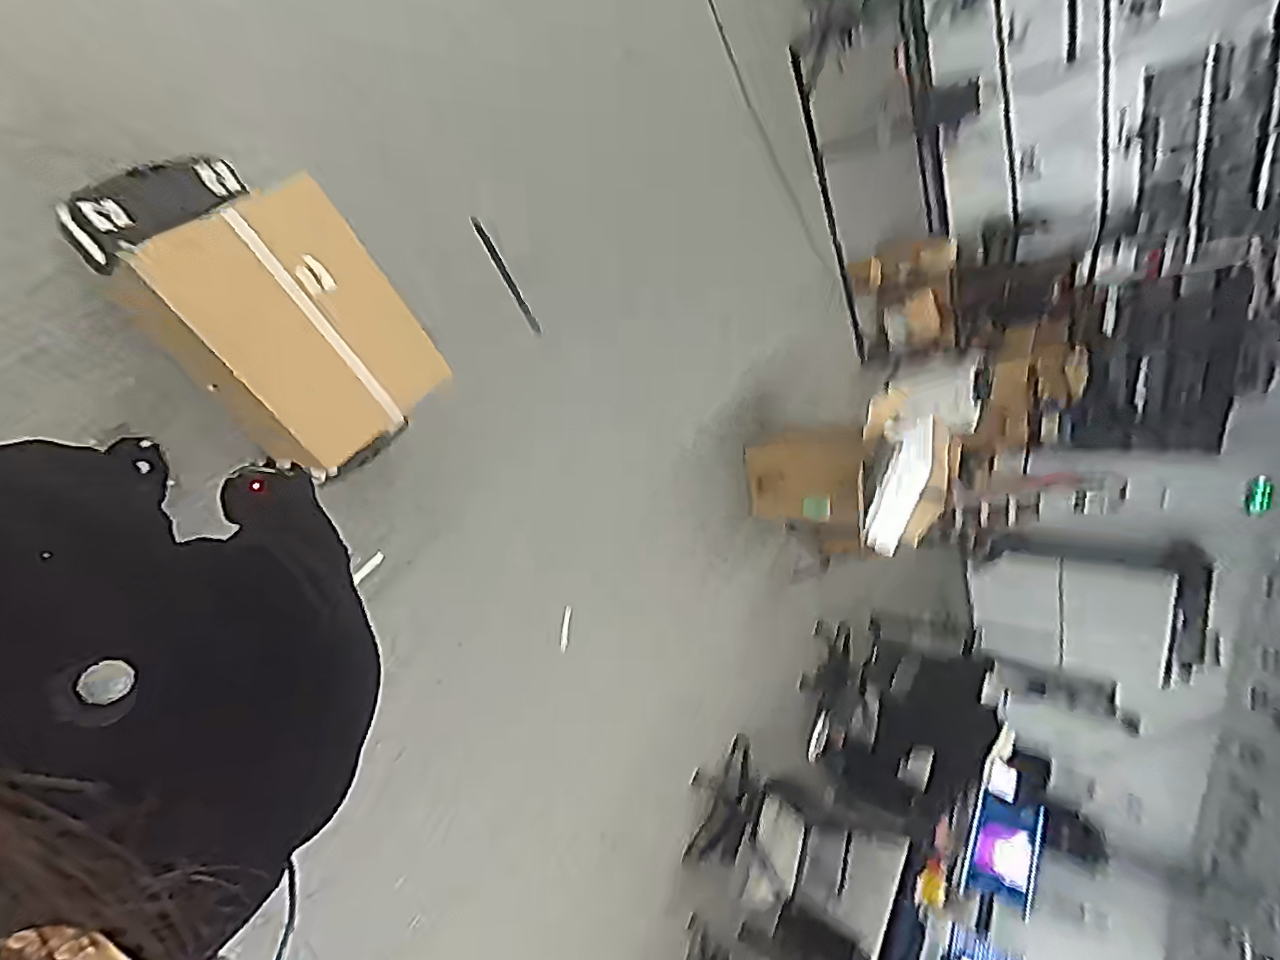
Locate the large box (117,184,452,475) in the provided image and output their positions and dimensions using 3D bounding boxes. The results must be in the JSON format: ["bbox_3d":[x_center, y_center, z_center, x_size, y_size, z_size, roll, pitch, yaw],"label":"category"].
[{"bbox_3d":[-0.657,-0.257,1.031,0.320,0.320,0.408,-52,126,-32],"label":"large box"}]
